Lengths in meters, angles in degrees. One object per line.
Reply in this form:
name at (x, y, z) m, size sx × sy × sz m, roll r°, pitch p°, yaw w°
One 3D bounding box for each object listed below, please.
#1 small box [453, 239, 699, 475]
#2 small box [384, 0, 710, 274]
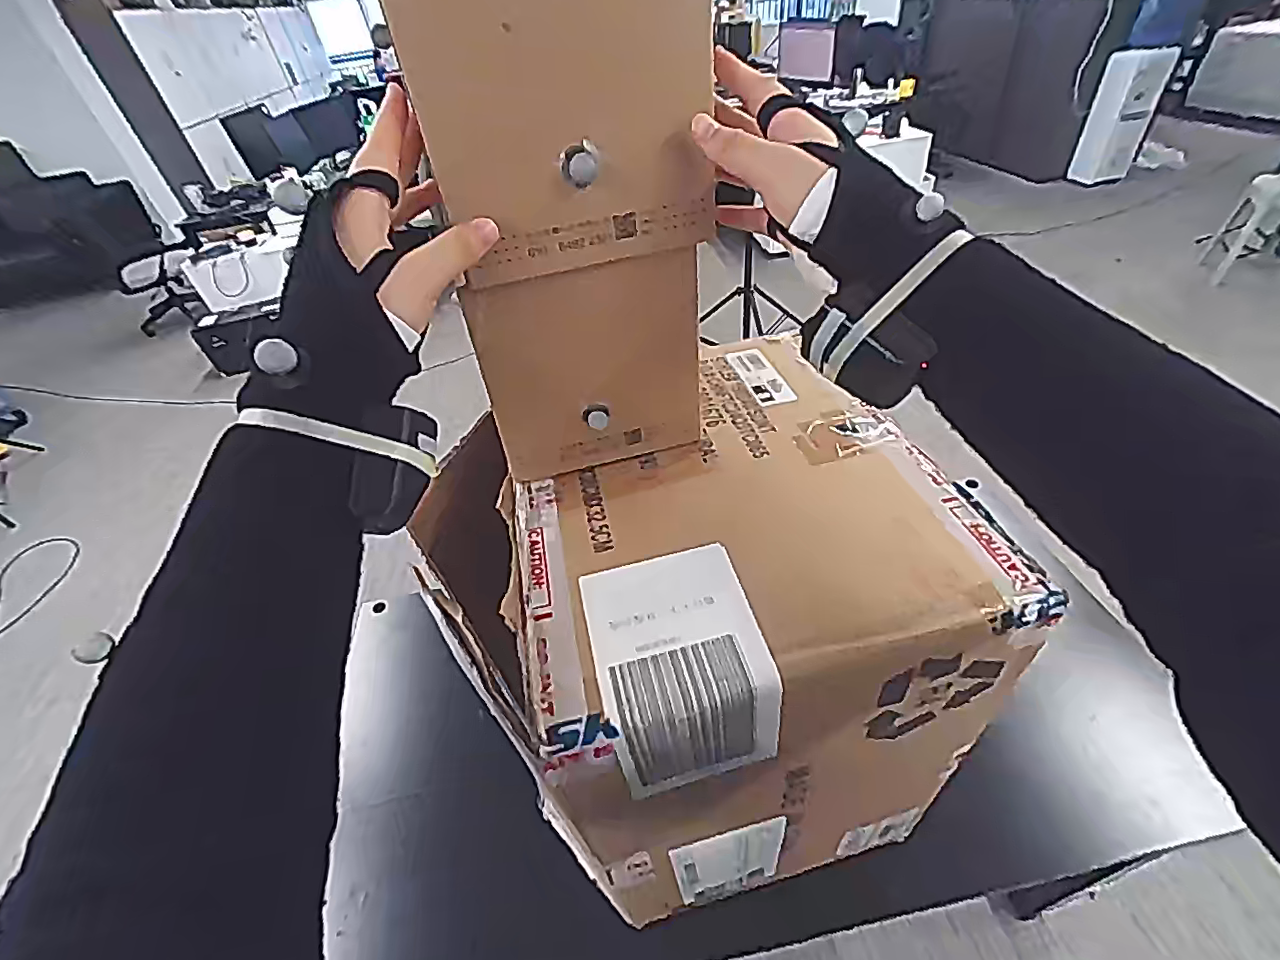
small box at (-0.054, -0.130, 0.469) m, size 0.168 × 0.176 × 0.179 m, roll -14°, pitch 41°, yaw -8°
small box at (-0.061, -0.253, 0.357) m, size 0.168 × 0.176 × 0.179 m, roll -16°, pitch 40°, yaw -9°
